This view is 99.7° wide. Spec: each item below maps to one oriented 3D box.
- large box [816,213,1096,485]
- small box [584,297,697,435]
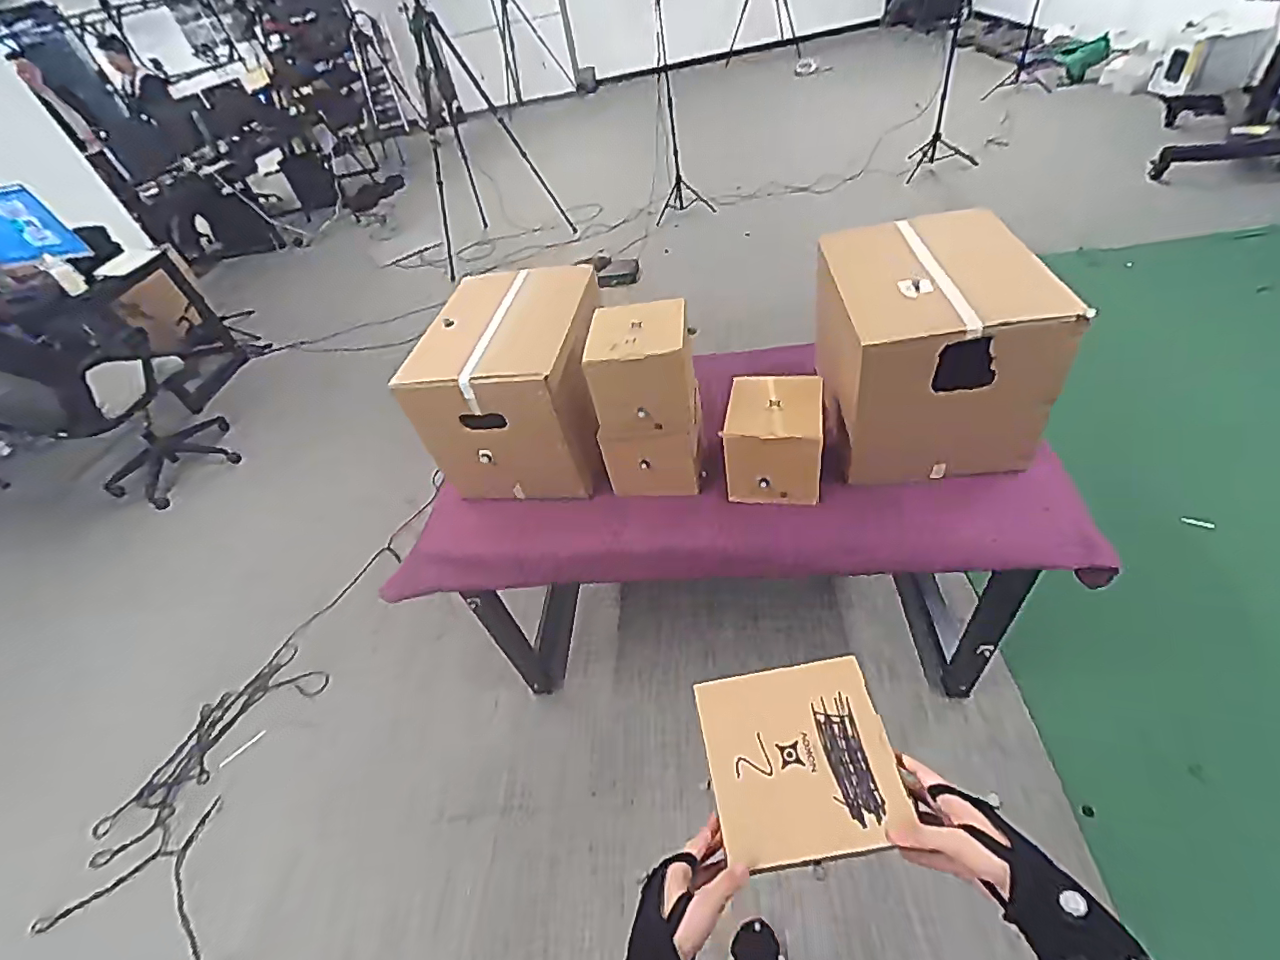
[{"bbox_3d":[0.528,-0.249,1.021,0.320,0.320,0.408,-6,46,11],"label":"large box"},{"bbox_3d":[0.010,-0.201,0.967,0.168,0.176,0.179,-4,45,11],"label":"small box"}]
